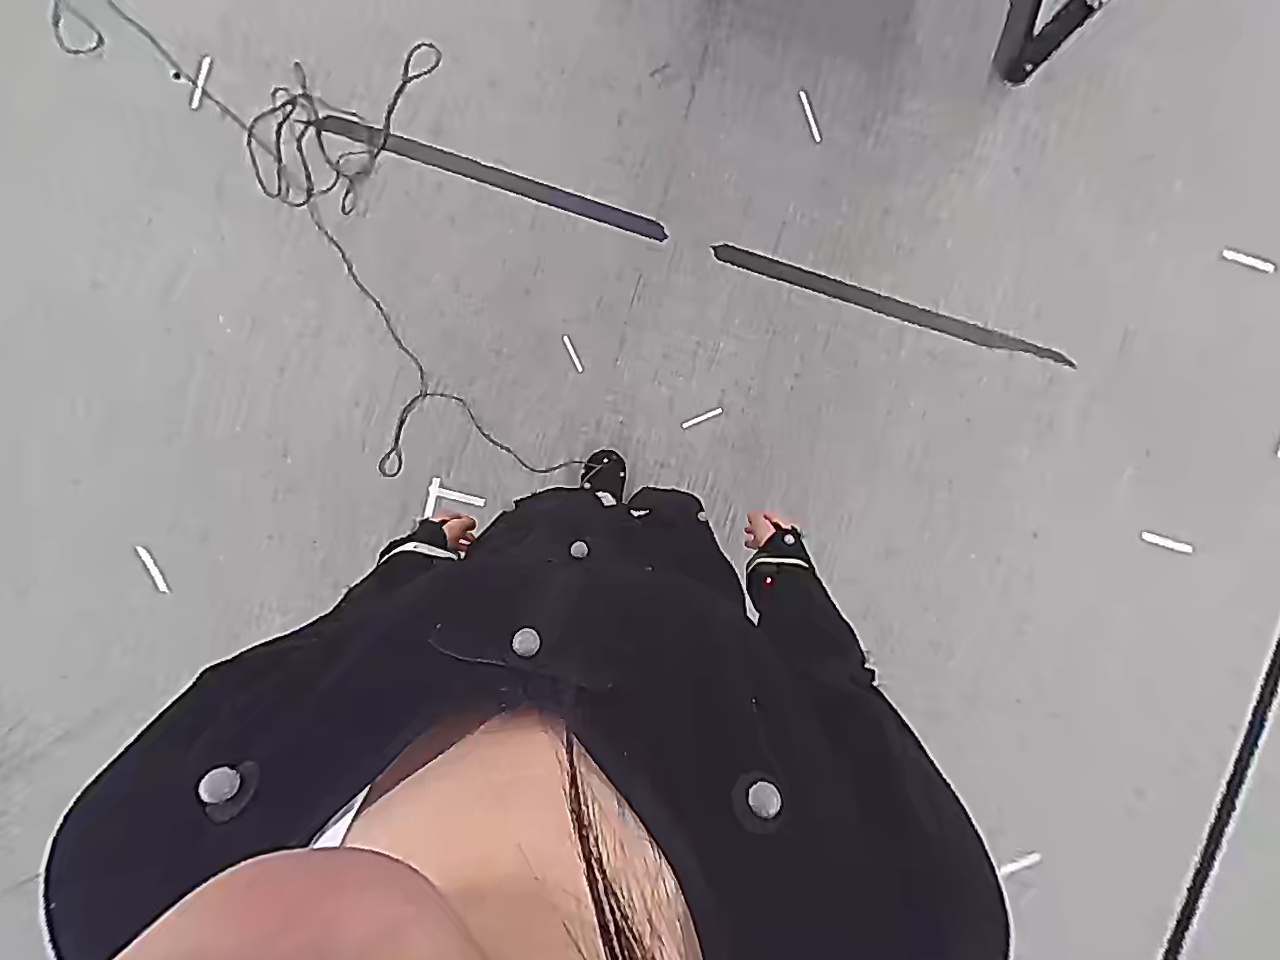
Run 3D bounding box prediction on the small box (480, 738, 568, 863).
[{"bbox_3d":[-0.256,0.687,1.147,0.168,0.176,0.179,13,92,-1],"label":"small box"}]
